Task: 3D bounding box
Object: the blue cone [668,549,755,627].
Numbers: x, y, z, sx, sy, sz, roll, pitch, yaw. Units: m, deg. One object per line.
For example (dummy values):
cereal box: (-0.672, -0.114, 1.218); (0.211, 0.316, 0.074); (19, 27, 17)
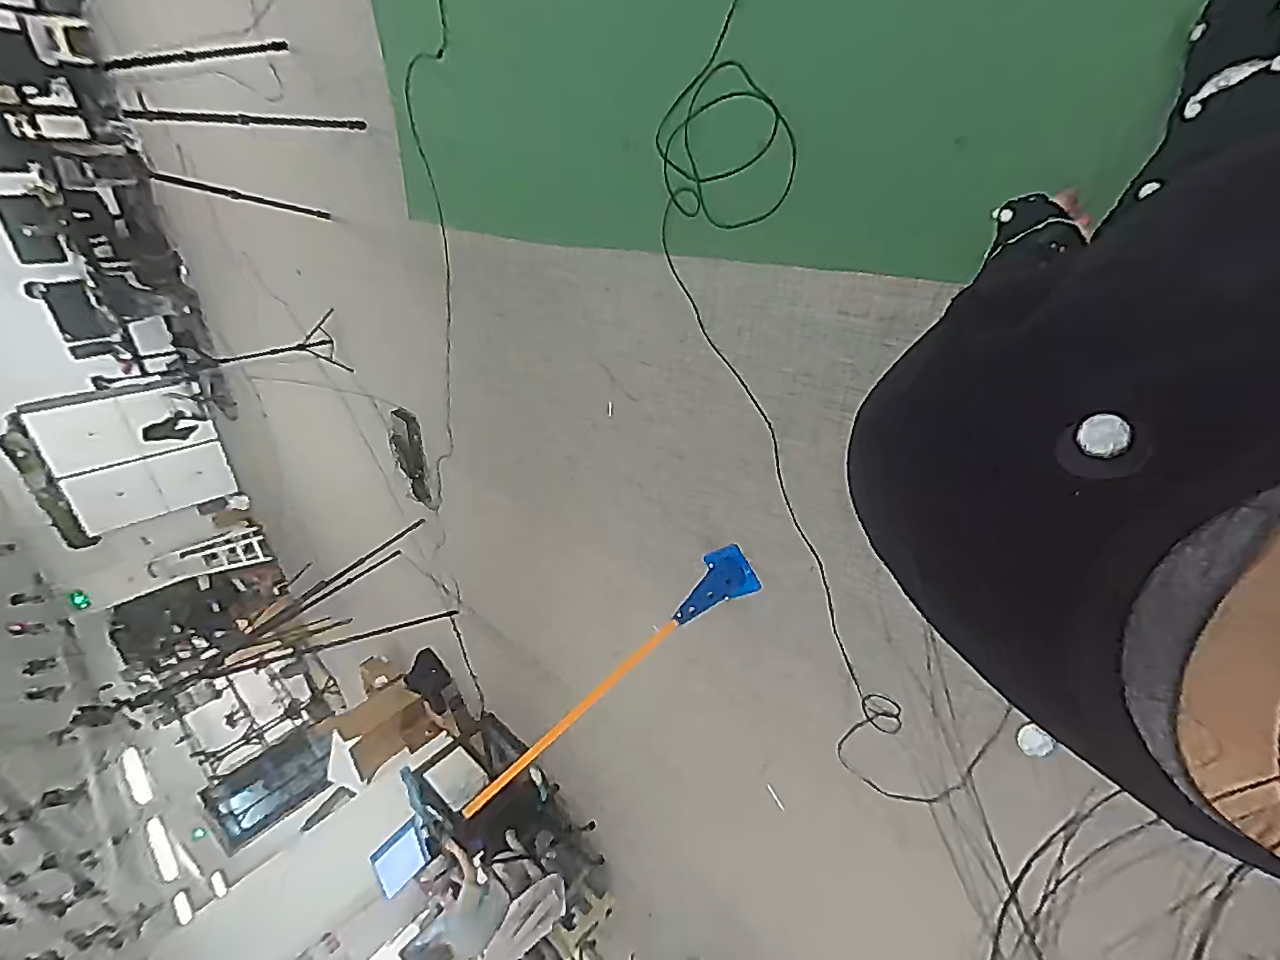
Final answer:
blue cone: (0.238, 0.434, 1.997); (0.192, 0.380, 0.193); (58, 140, 3)
